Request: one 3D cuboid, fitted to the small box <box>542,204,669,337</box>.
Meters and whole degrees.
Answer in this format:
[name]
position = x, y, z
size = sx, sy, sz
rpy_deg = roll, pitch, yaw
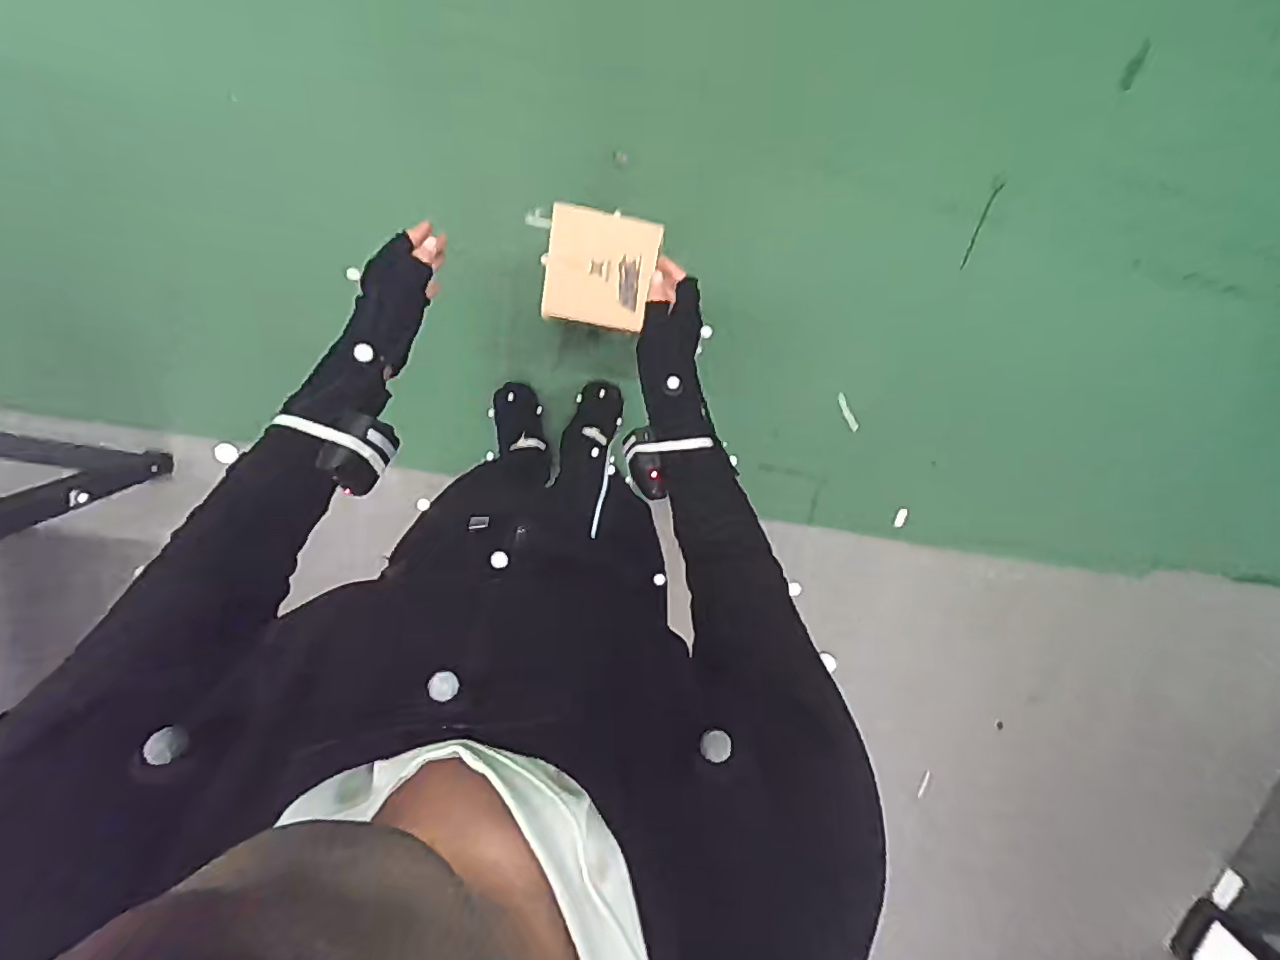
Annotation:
[small box]
position = -0.065, -0.351, 0.932
size = 0.179, 0.176, 0.168
rpy_deg = 11, 103, -10
